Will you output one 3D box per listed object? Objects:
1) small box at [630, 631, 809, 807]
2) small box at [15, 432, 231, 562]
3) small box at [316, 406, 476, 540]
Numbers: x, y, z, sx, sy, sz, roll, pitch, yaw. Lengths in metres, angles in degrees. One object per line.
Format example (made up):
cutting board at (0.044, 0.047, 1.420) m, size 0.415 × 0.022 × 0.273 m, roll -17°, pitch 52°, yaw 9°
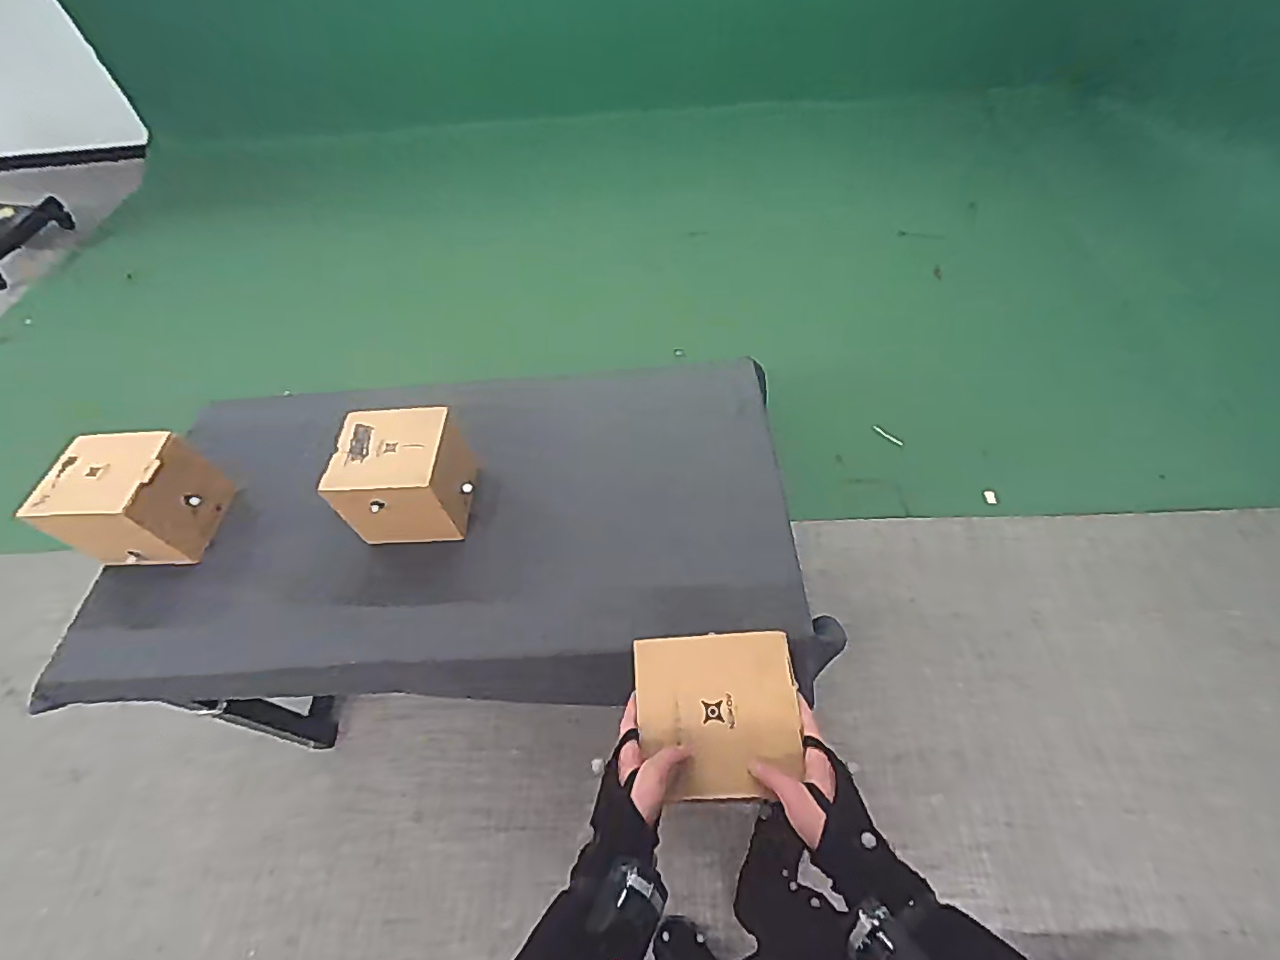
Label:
small box at (0.087, 0.289, 0.642) m, size 0.179 × 0.176 × 0.168 m, roll -7°, pitch 57°, yaw 5°
small box at (-0.869, 0.033, 0.936) m, size 0.179 × 0.176 × 0.168 m, roll -1°, pitch 54°, yaw 3°
small box at (-0.403, -0.007, 0.927) m, size 0.179 × 0.176 × 0.168 m, roll -2°, pitch 55°, yaw 2°
